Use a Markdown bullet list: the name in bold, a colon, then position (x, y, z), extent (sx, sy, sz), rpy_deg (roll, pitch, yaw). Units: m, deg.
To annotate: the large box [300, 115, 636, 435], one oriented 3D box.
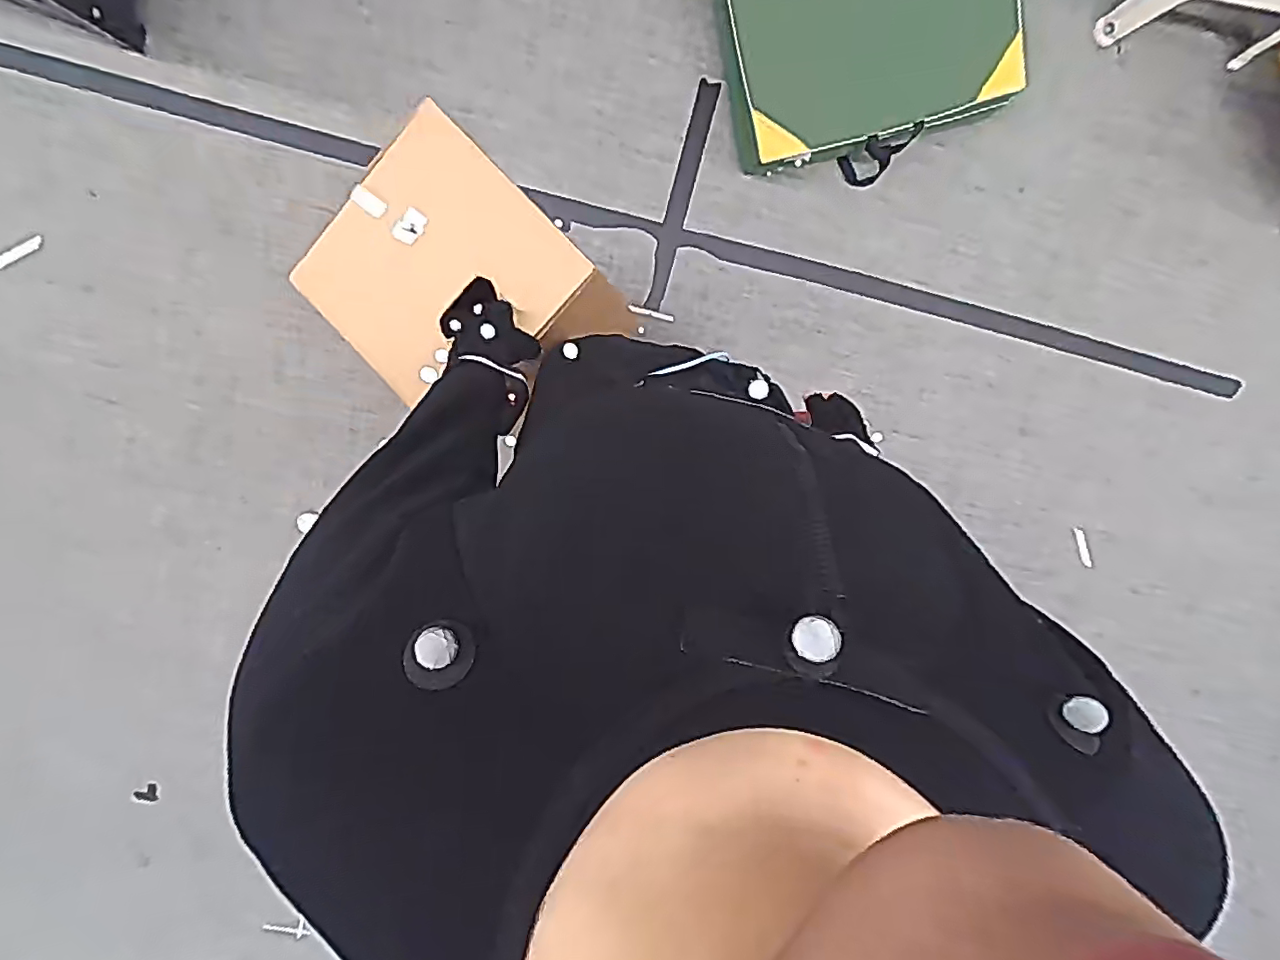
- **large box**: position (-0.248, -0.298, 0.920), extent (0.320, 0.408, 0.320), rpy_deg (-43, 89, 11)
